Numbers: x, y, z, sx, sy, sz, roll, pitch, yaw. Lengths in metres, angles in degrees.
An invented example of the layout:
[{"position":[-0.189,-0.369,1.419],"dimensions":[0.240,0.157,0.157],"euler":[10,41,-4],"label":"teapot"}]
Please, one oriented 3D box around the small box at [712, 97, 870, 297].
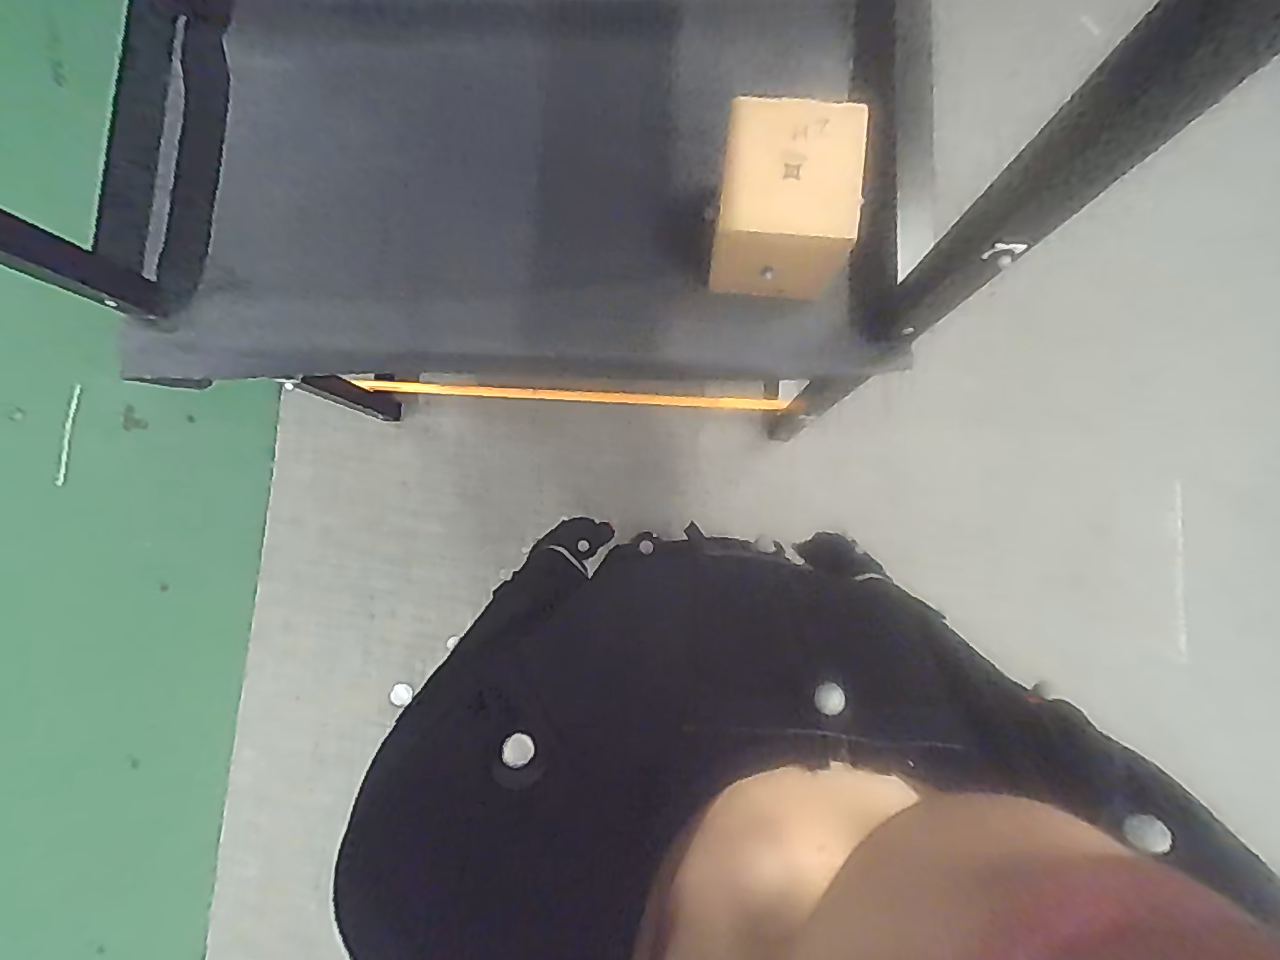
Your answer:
[{"position":[0.191,-0.366,0.728],"dimensions":[0.168,0.176,0.179],"euler":[7,84,4],"label":"small box"}]
